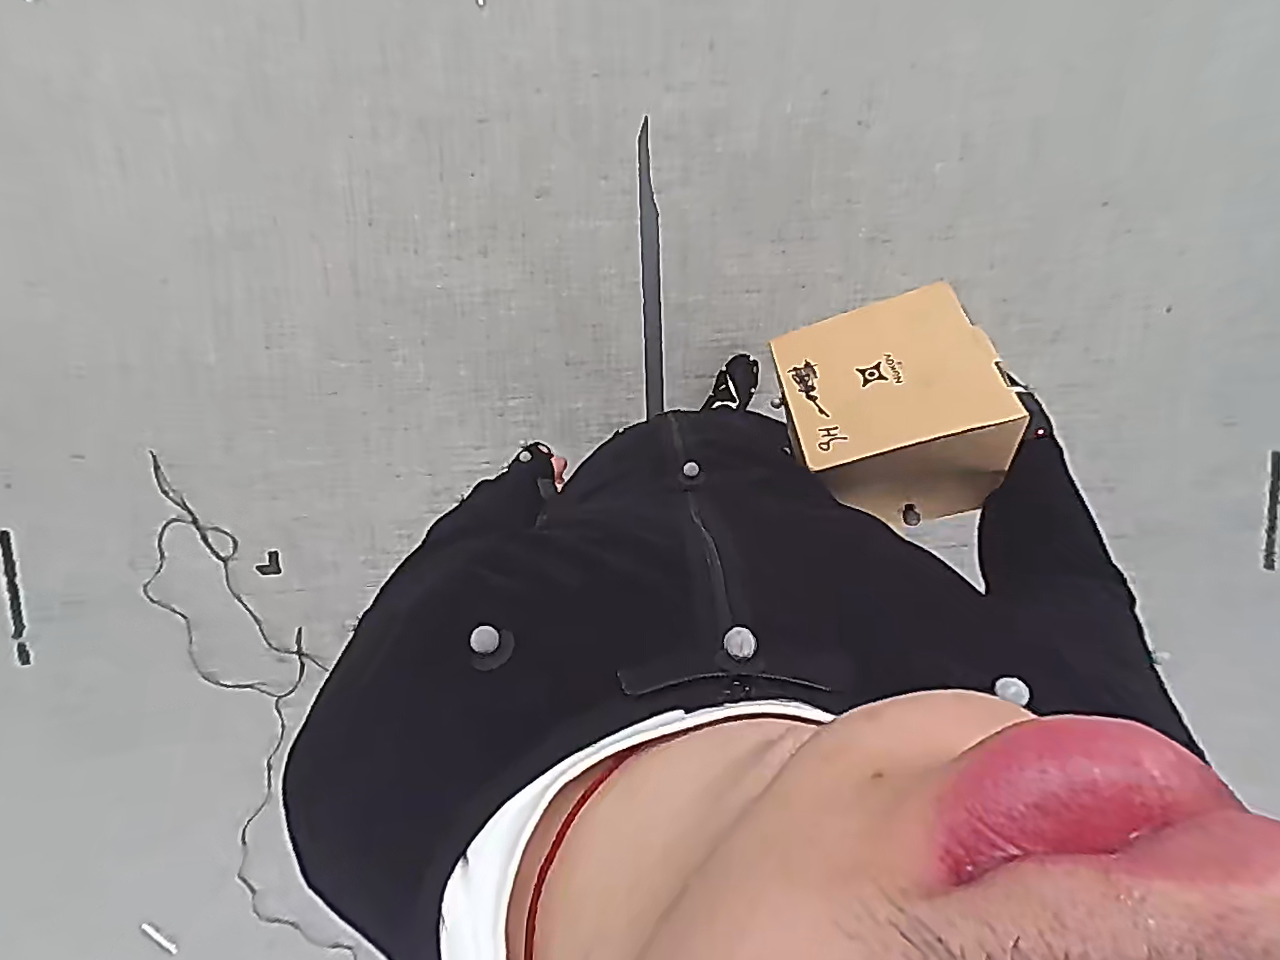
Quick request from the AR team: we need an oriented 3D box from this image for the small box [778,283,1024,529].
[{"bbox_3d":[0.257,-0.067,0.572,0.179,0.176,0.168,-15,56,14],"label":"small box"}]
